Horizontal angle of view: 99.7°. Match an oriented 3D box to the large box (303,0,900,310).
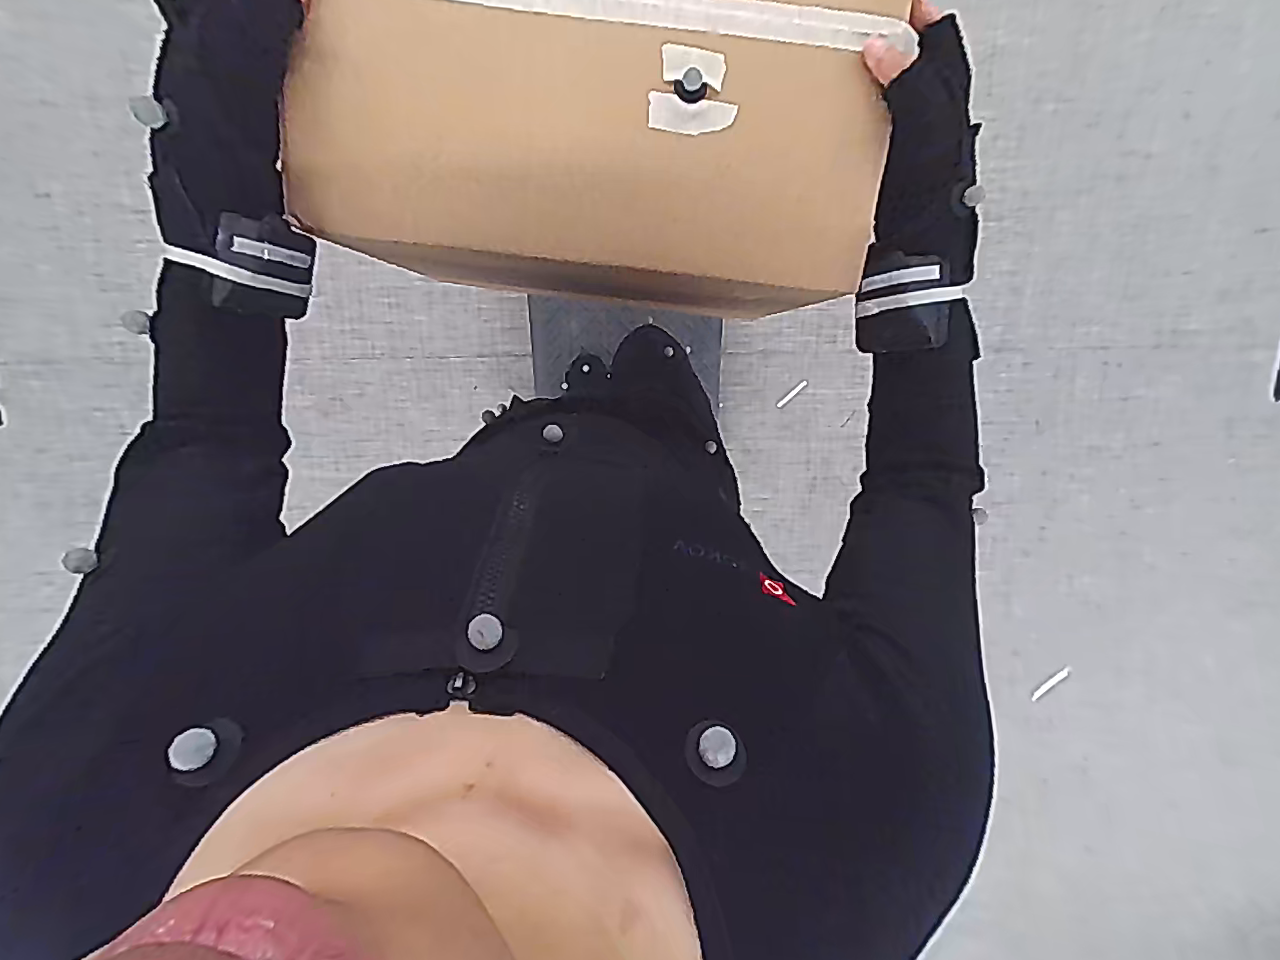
[{"bbox_3d":[-0.029,-0.349,0.509,0.408,0.320,0.320,5,103,-3],"label":"large box"}]
